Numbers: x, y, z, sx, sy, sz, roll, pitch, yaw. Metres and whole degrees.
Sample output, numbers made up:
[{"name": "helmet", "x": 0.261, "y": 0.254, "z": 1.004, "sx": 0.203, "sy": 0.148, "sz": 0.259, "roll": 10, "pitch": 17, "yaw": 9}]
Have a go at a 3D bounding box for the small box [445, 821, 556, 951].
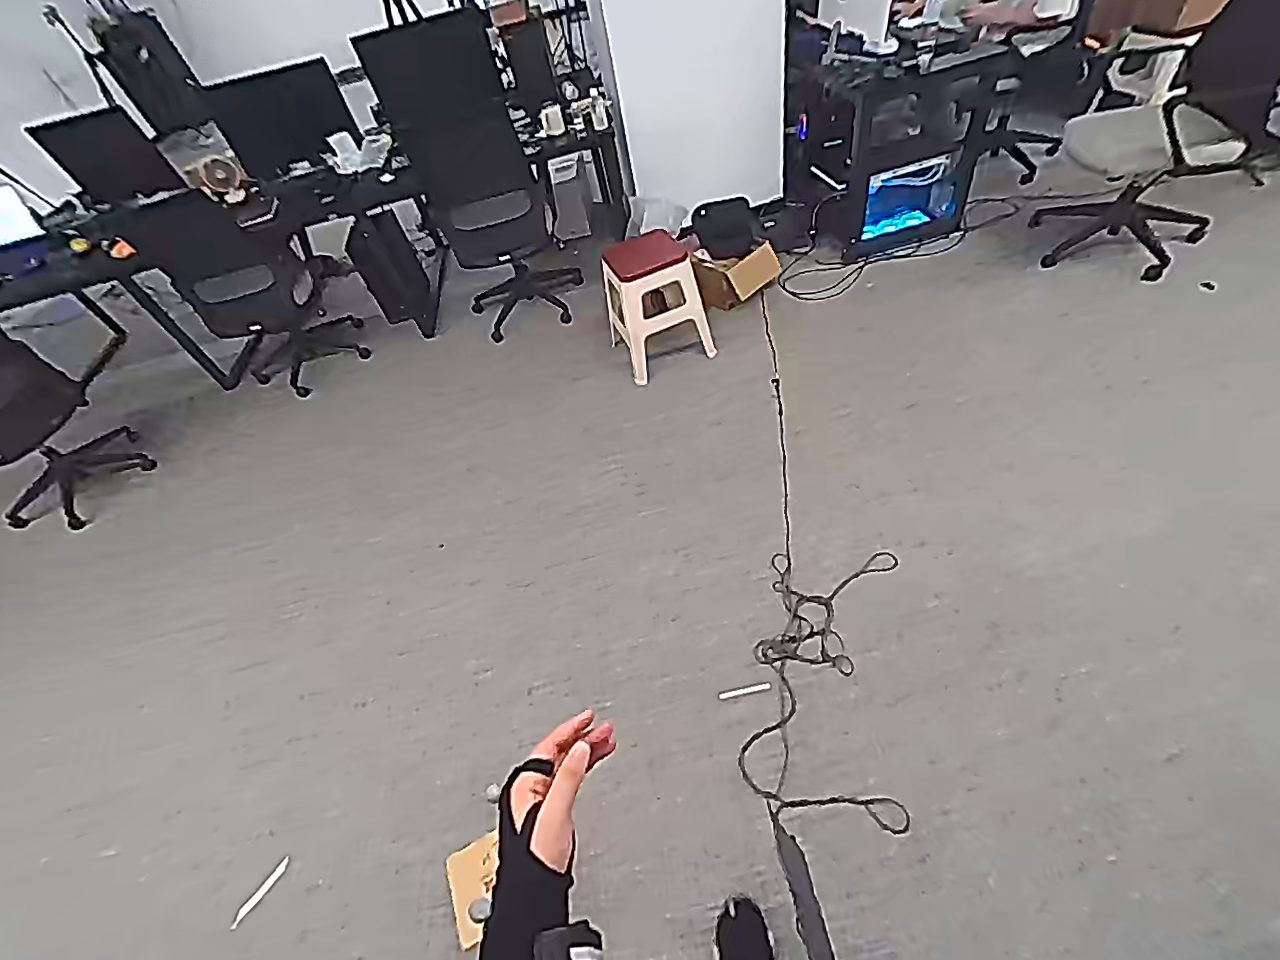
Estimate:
[{"name": "small box", "x": -0.305, "y": 0.899, "z": 1.200, "sx": 0.168, "sy": 0.176, "sz": 0.179, "roll": -26, "pitch": 48, "yaw": -9}]
